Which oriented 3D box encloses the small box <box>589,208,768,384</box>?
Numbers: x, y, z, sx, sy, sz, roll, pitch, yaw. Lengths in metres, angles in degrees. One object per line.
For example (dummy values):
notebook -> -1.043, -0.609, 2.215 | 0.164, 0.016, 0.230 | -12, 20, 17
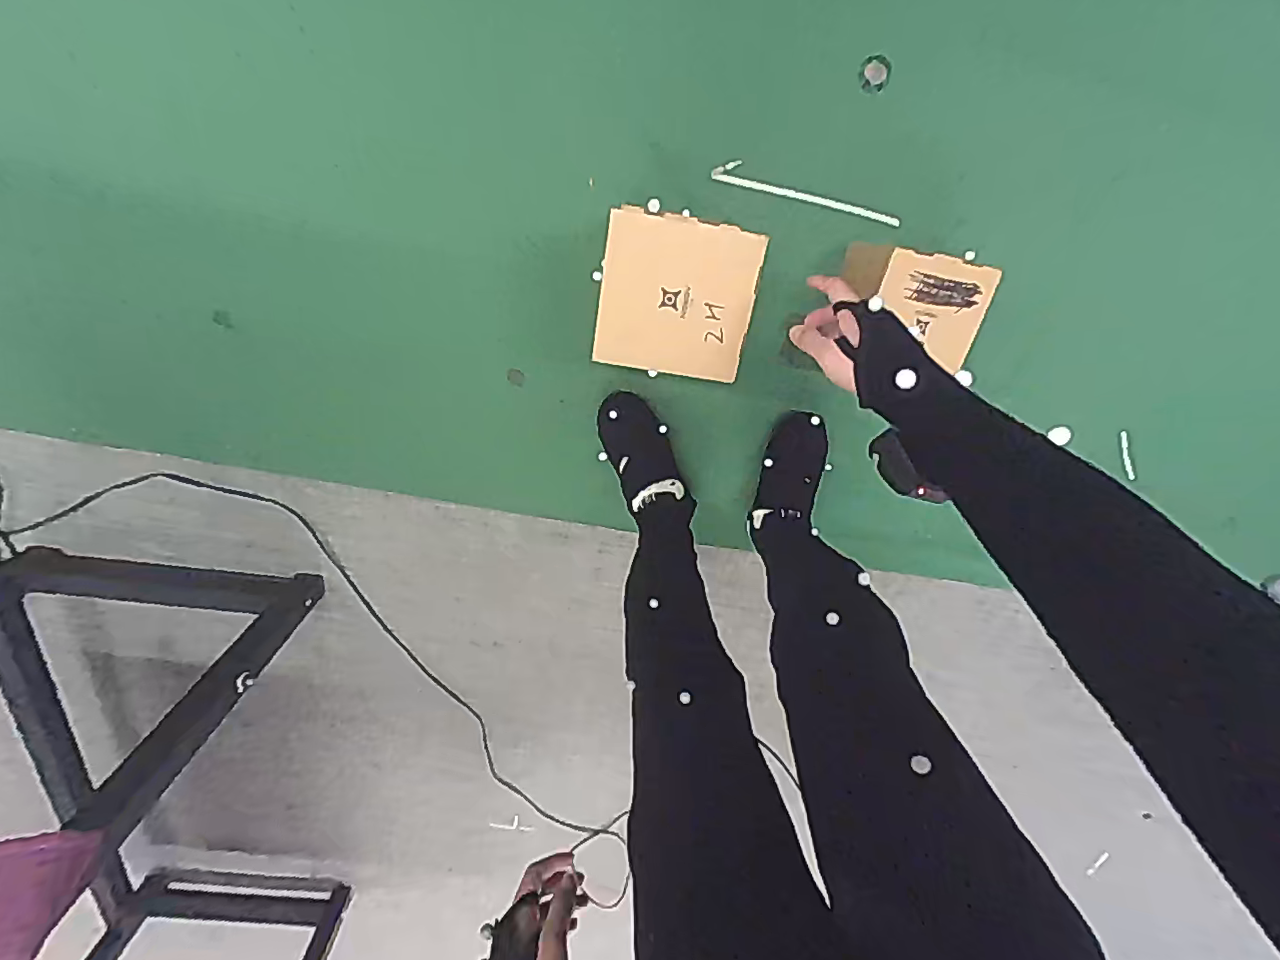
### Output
small box -> 0.039, -0.232, 0.680 | 0.179, 0.176, 0.168 | 9, 114, -5
